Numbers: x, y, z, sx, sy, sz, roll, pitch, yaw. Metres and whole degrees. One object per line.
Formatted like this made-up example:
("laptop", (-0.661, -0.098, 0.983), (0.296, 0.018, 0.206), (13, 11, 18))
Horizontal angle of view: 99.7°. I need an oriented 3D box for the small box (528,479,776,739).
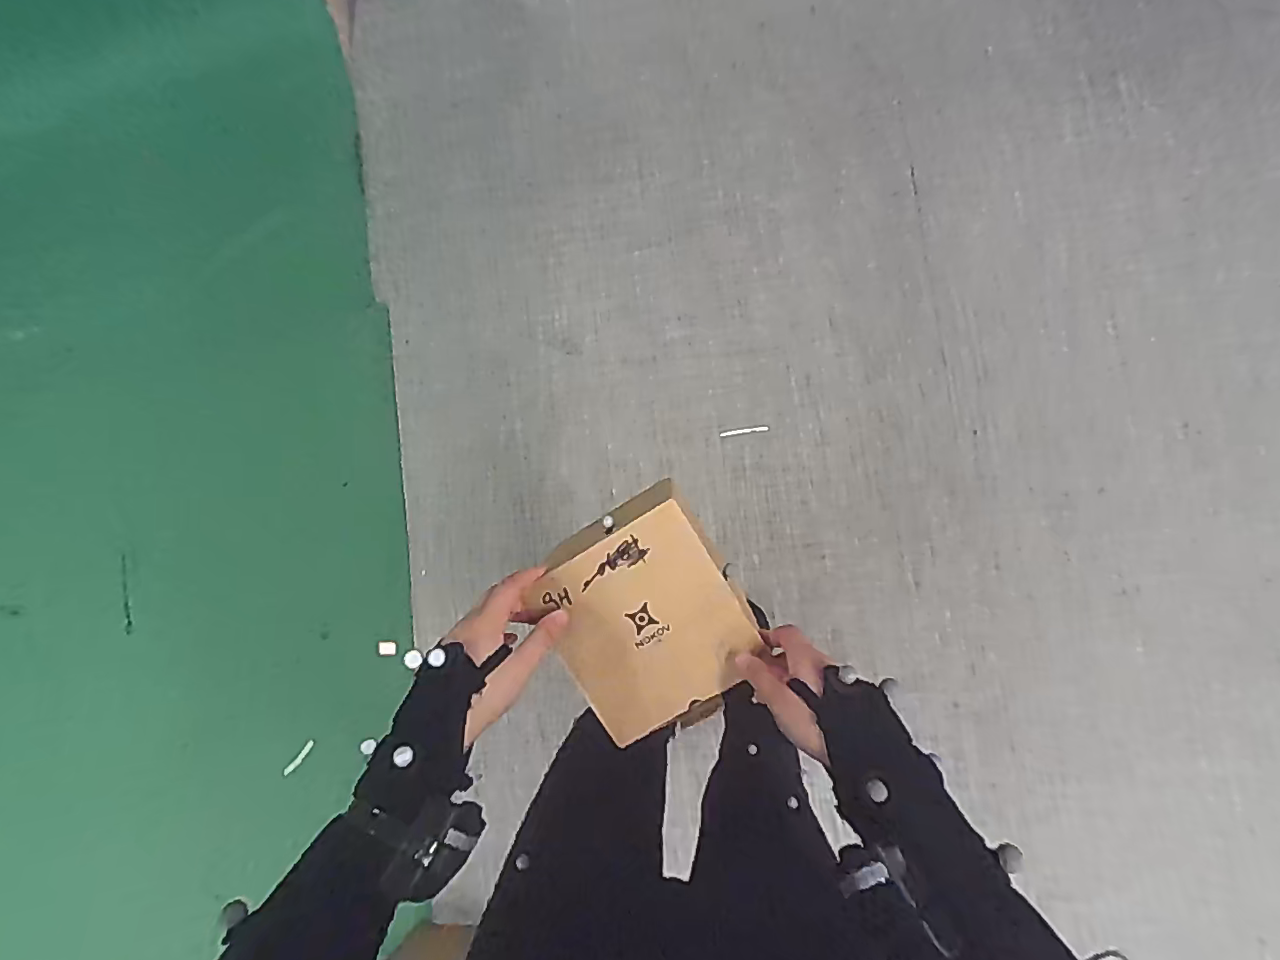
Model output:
("small box", (0.014, 0.116, 0.558), (0.168, 0.176, 0.179), (-30, 95, 4))
